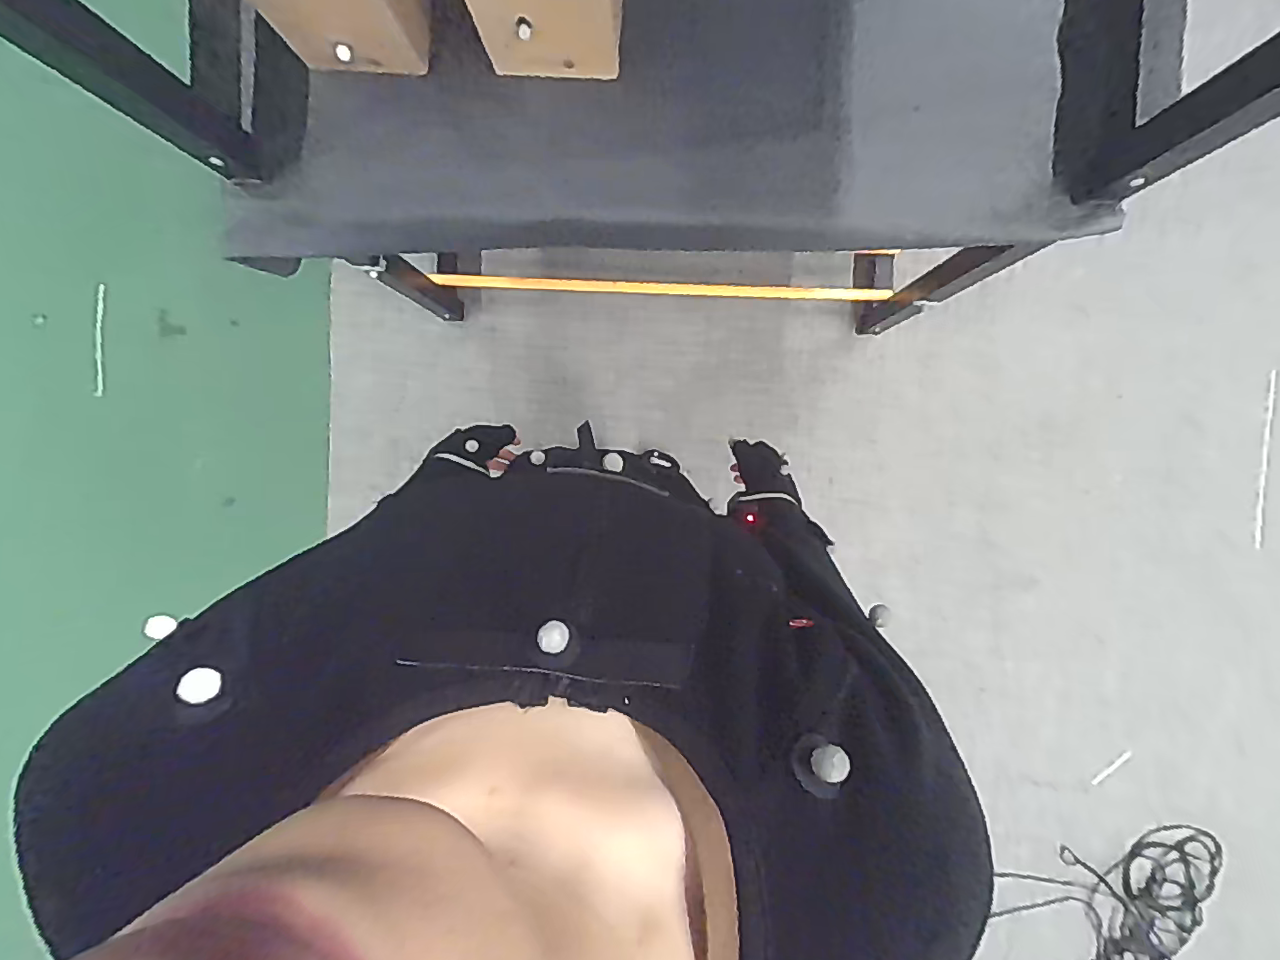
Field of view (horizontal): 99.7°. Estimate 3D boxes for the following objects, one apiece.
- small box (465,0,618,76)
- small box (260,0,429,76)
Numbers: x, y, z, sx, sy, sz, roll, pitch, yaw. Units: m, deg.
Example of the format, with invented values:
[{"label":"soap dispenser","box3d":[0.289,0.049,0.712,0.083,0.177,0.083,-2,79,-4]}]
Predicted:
[{"label":"small box","box3d":[-0.113,-0.624,0.644,0.168,0.176,0.179,3,93,1]},{"label":"small box","box3d":[-0.366,-0.635,0.647,0.168,0.176,0.179,3,94,1]}]
